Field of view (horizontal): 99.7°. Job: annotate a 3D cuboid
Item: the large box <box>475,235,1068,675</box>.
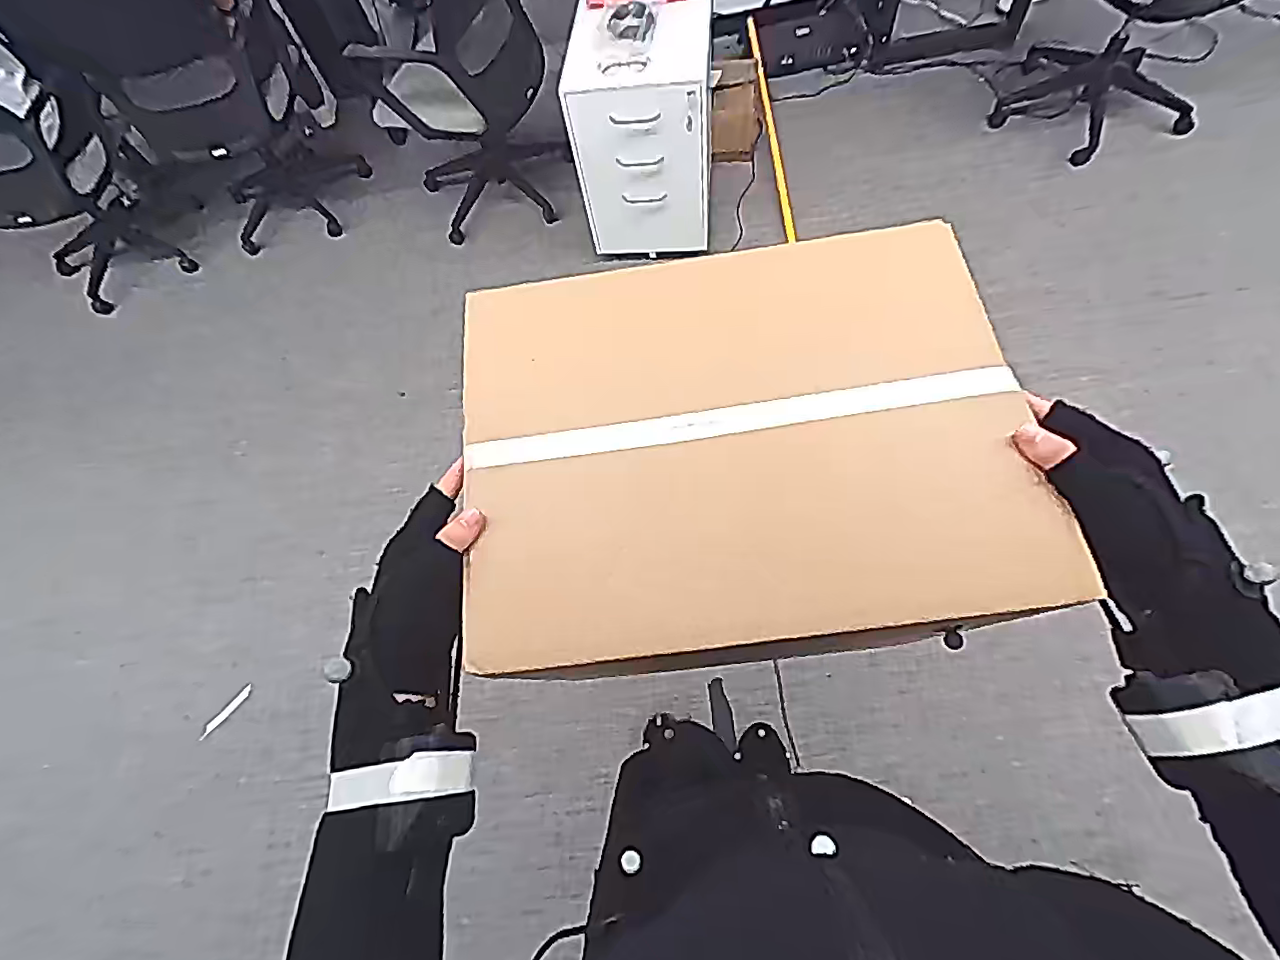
[{"bbox_3d":[0.085,0.013,0.553,0.408,0.320,0.320,-8,68,3],"label":"large box"}]
